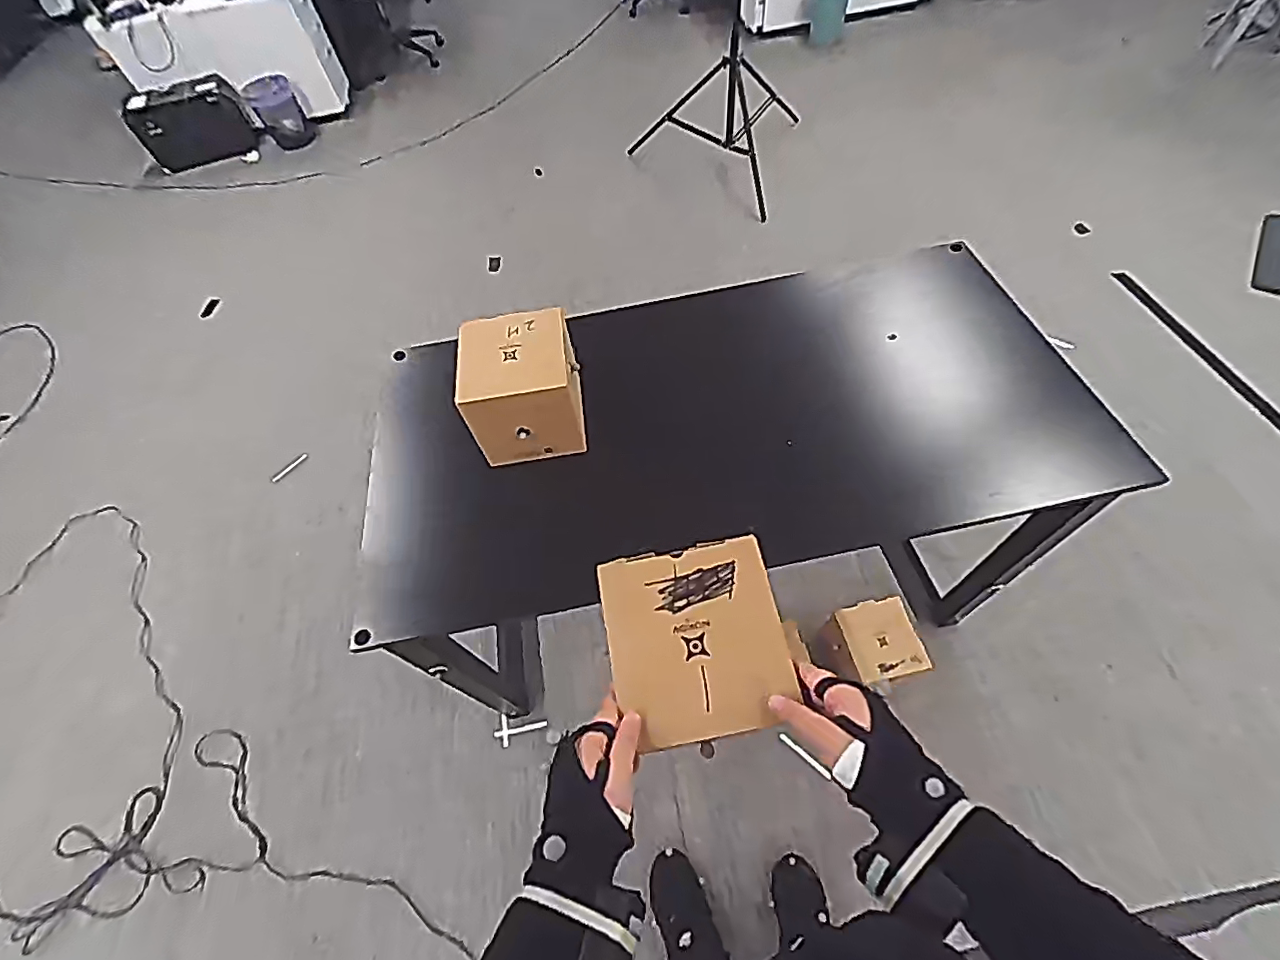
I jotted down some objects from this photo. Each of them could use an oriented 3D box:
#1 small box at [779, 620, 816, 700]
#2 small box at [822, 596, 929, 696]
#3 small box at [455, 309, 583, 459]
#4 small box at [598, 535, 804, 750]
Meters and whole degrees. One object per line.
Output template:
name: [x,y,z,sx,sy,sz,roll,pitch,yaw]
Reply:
small box: [0.306,0.461,1.323,0.179,0.176,0.168,-13,56,-1]
small box: [0.563,0.409,1.324,0.168,0.176,0.179,-13,57,-1]
small box: [-0.192,-0.149,0.894,0.168,0.176,0.179,-9,57,0]
small box: [0.056,0.181,0.580,0.168,0.176,0.179,-11,64,-1]
